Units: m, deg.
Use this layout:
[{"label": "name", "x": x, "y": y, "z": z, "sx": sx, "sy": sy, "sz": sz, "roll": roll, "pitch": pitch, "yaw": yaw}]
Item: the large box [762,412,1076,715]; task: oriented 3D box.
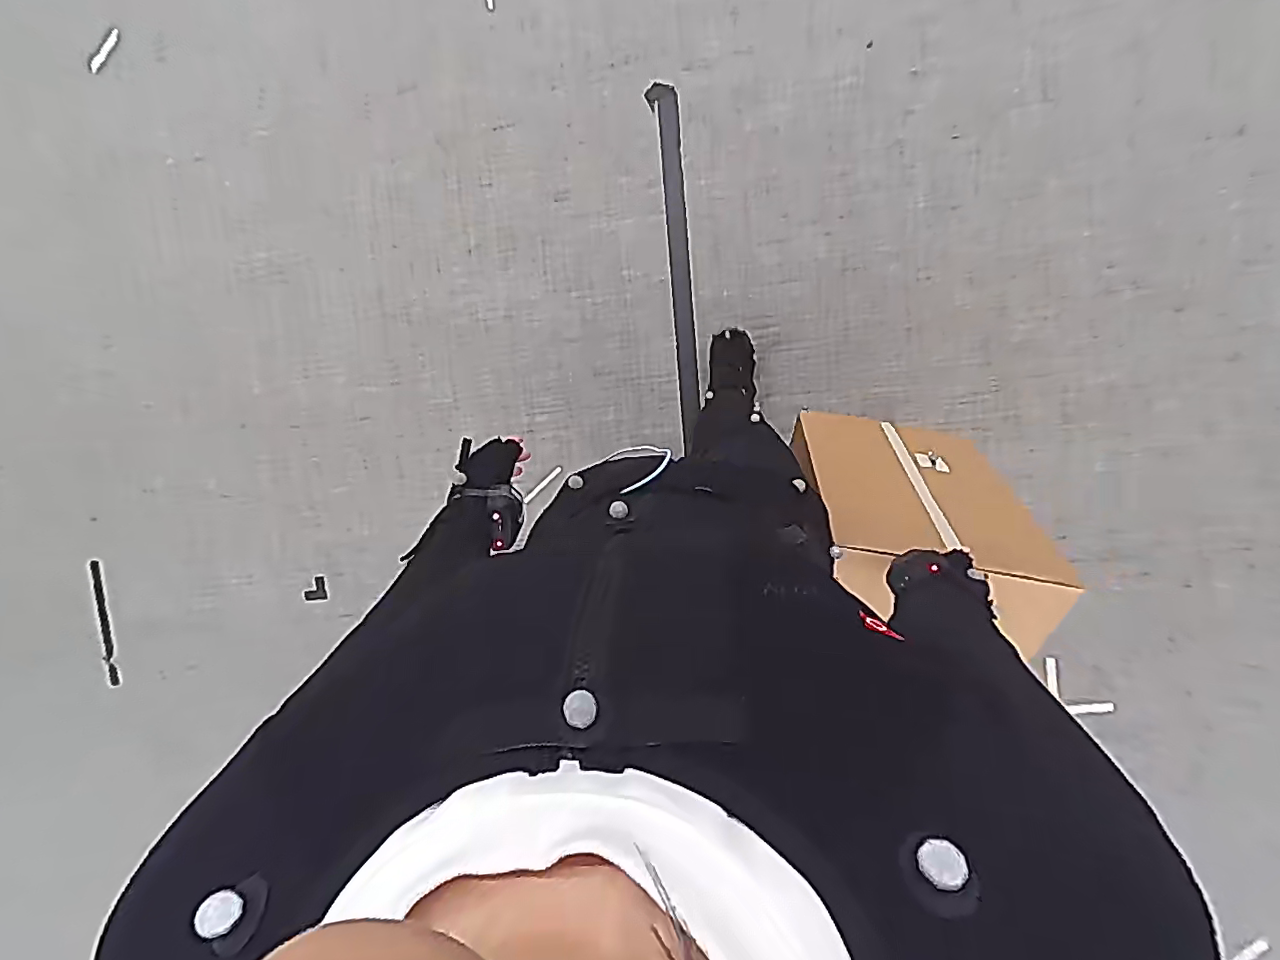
[{"label": "large box", "x": 0.409, "y": 0.123, "z": 0.932, "sx": 0.320, "sy": 0.408, "sz": 0.320, "roll": 10, "pitch": 122, "yaw": 2}]
